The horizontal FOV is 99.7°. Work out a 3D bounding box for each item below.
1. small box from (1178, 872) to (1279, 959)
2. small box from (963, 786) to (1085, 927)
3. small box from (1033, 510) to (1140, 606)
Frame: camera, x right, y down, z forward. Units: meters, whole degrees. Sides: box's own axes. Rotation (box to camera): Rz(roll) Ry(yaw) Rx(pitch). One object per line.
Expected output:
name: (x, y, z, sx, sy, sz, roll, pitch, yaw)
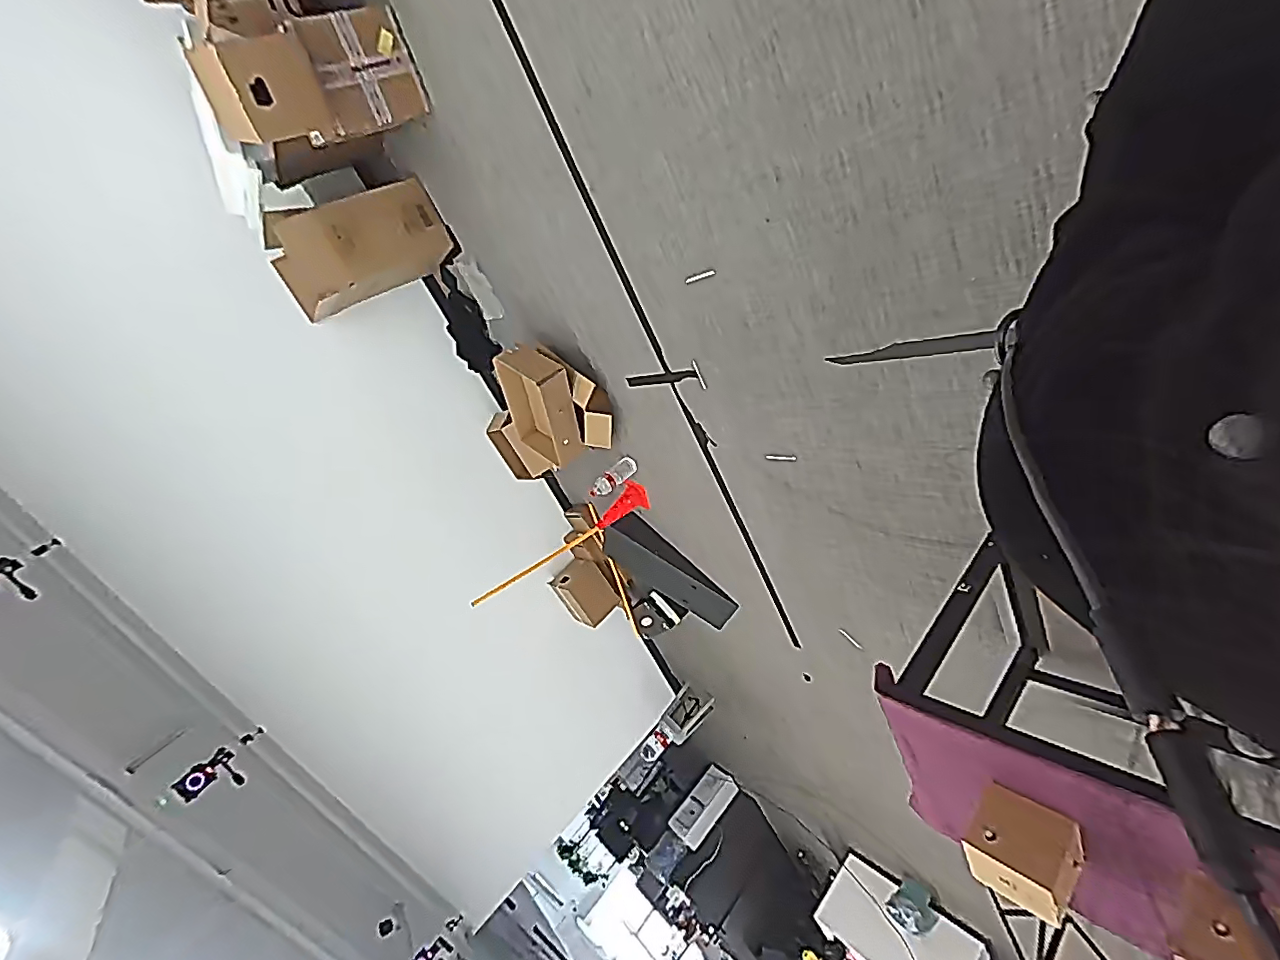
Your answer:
small box: (1.062, 0.835, 0.934, 0.168, 0.176, 0.179, 9, 135, 54)
small box: (0.869, 0.835, 1.224, 0.179, 0.176, 0.168, 8, 133, 52)
small box: (1.232, 0.207, 1.495, 0.179, 0.176, 0.168, 22, 142, 40)
